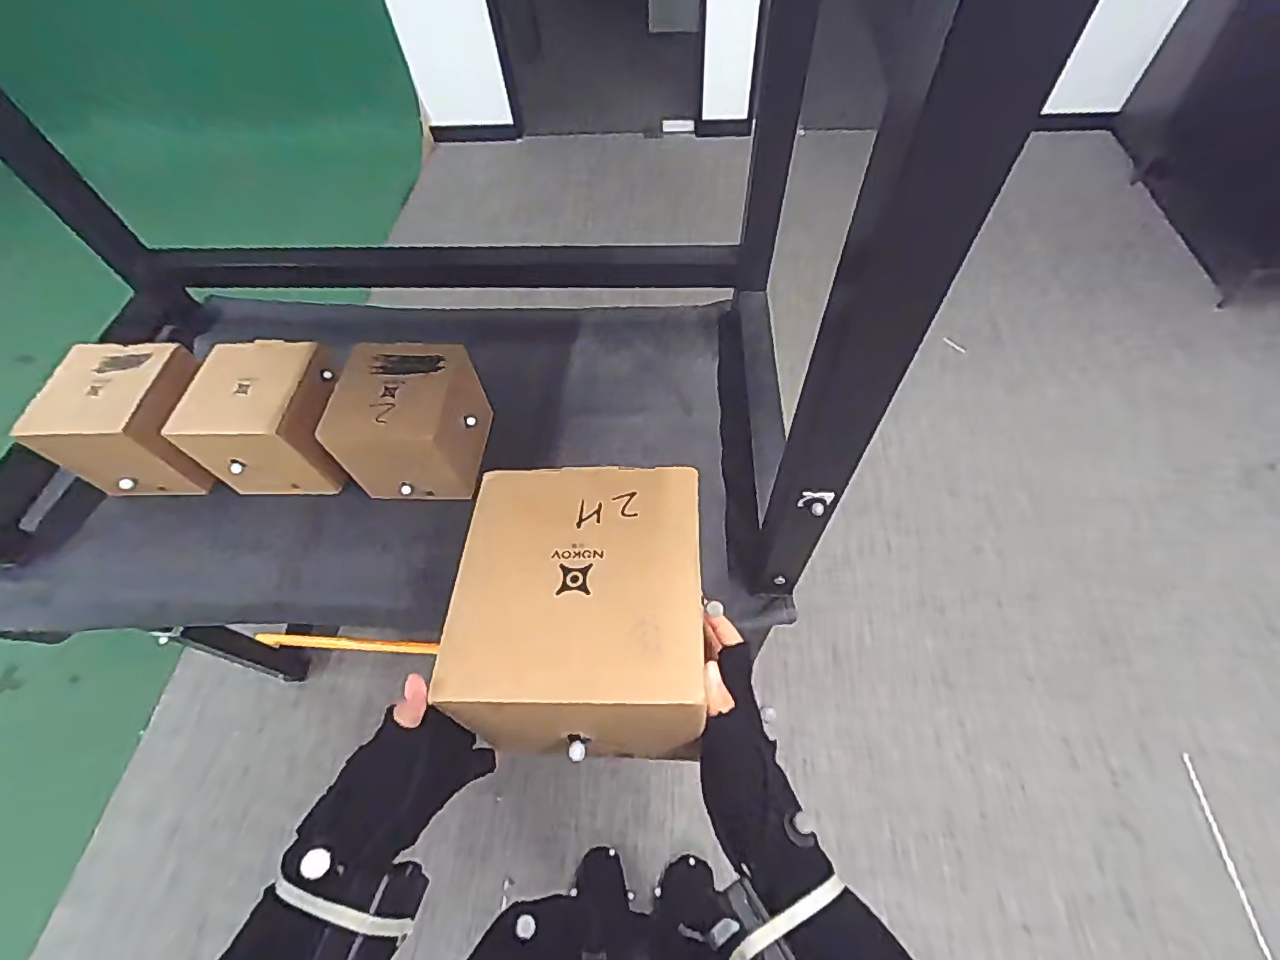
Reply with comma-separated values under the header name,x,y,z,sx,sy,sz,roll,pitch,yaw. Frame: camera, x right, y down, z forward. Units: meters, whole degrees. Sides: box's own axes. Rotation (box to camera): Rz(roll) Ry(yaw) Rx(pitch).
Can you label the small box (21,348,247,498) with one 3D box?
name,x,y,z,sx,sy,sz,roll,pitch,yaw
small box,-0.777,-0.088,0.860,0.168,0.176,0.179,-1,58,3
